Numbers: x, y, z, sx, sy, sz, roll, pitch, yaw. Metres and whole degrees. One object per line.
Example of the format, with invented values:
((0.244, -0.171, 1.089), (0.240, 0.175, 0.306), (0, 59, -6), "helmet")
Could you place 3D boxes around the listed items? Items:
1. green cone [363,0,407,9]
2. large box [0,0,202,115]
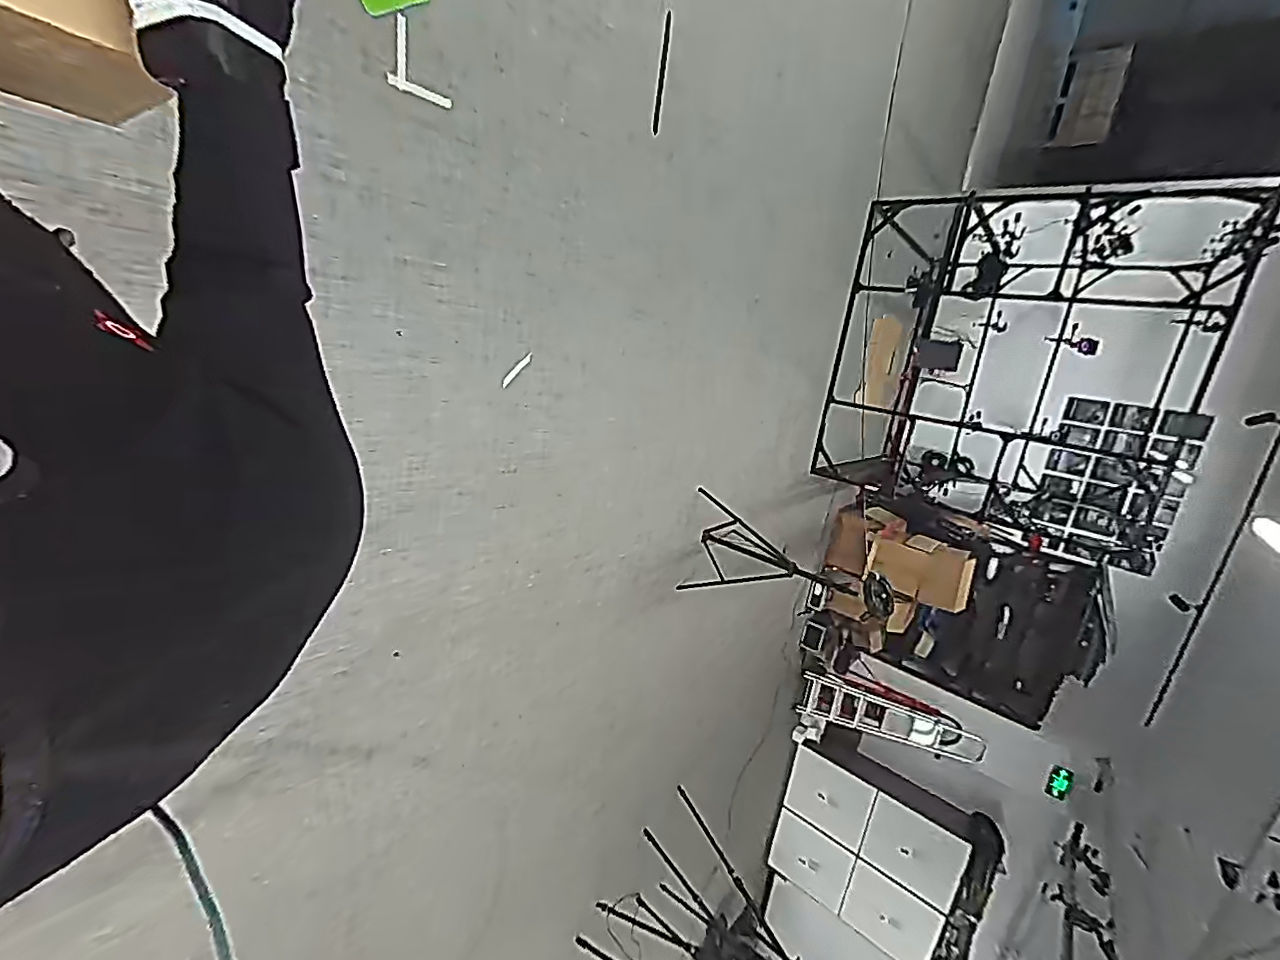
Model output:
((-0.464, -1.169, 1.131), (0.202, 0.368, 0.200), (-50, 140, -29), "green cone")
((-0.536, -0.465, 0.291), (0.408, 0.320, 0.320), (-8, 113, -52), "large box")
